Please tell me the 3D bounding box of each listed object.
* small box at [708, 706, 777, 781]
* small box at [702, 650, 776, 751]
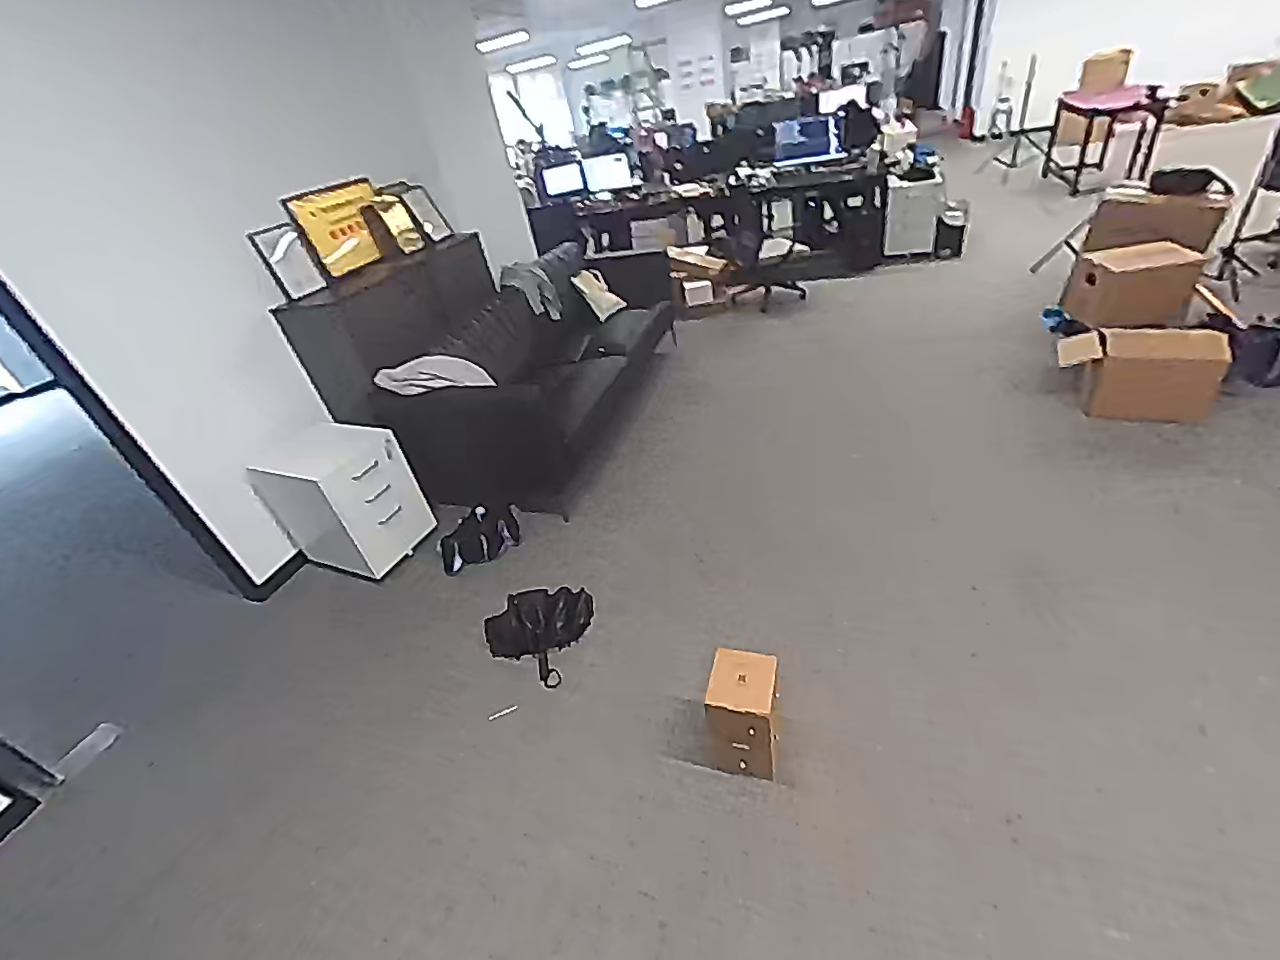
[{"bbox_3d":[0.297,0.719,1.532,0.168,0.176,0.179,2,37,19],"label":"small box"},{"bbox_3d":[0.271,0.587,1.442,0.168,0.176,0.179,3,36,19],"label":"small box"}]
